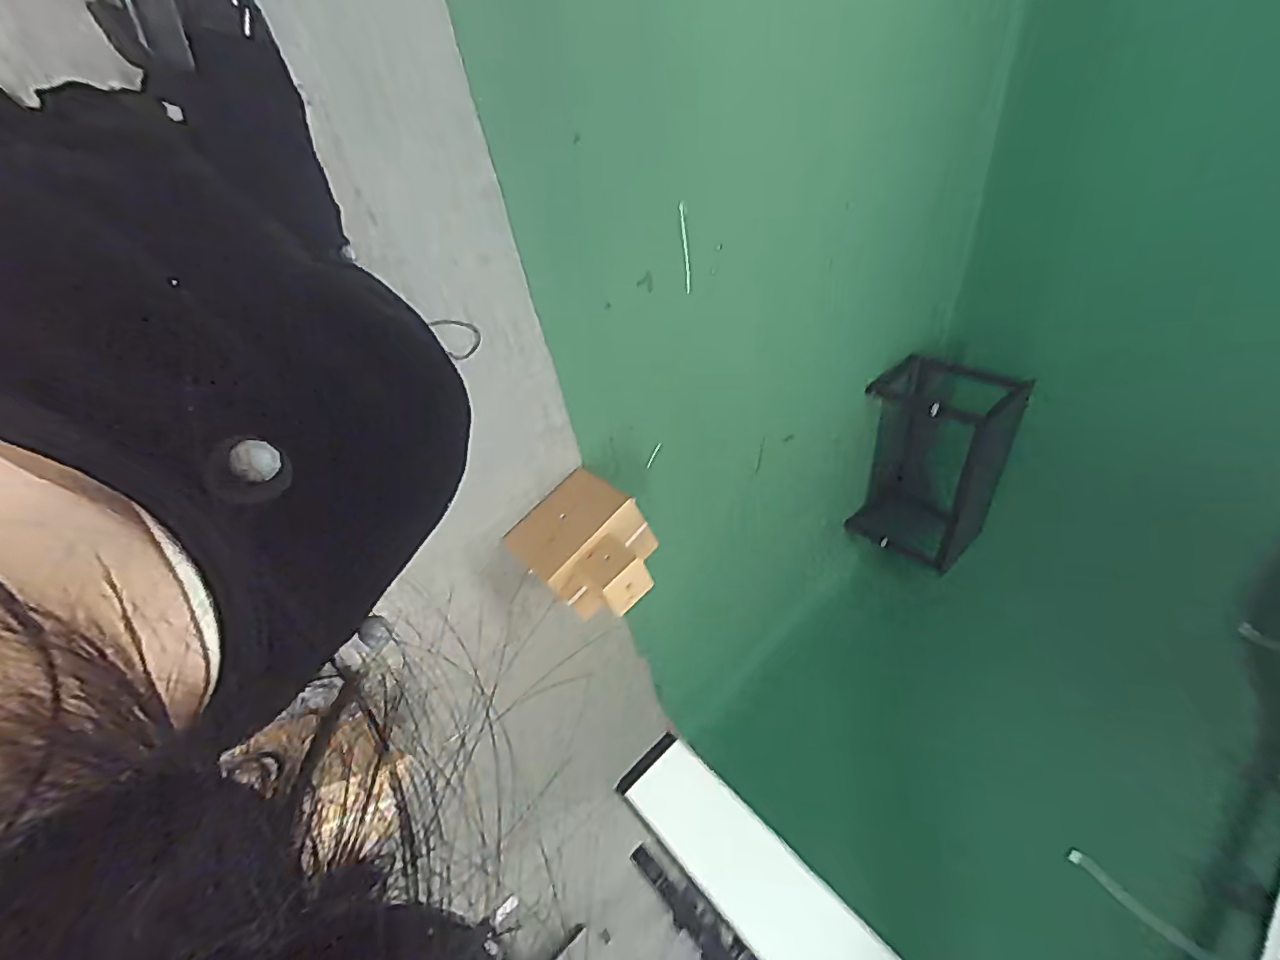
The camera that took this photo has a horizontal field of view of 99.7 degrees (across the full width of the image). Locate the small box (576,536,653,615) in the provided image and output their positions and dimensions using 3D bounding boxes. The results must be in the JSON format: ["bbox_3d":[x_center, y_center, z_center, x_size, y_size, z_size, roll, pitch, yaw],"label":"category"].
[{"bbox_3d":[-0.089,0.315,1.832,0.168,0.176,0.179,-41,136,-19],"label":"small box"}]

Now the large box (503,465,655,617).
[{"bbox_3d":[-0.224,0.220,2.021,0.408,0.320,0.320,-46,139,-16],"label":"large box"}]
